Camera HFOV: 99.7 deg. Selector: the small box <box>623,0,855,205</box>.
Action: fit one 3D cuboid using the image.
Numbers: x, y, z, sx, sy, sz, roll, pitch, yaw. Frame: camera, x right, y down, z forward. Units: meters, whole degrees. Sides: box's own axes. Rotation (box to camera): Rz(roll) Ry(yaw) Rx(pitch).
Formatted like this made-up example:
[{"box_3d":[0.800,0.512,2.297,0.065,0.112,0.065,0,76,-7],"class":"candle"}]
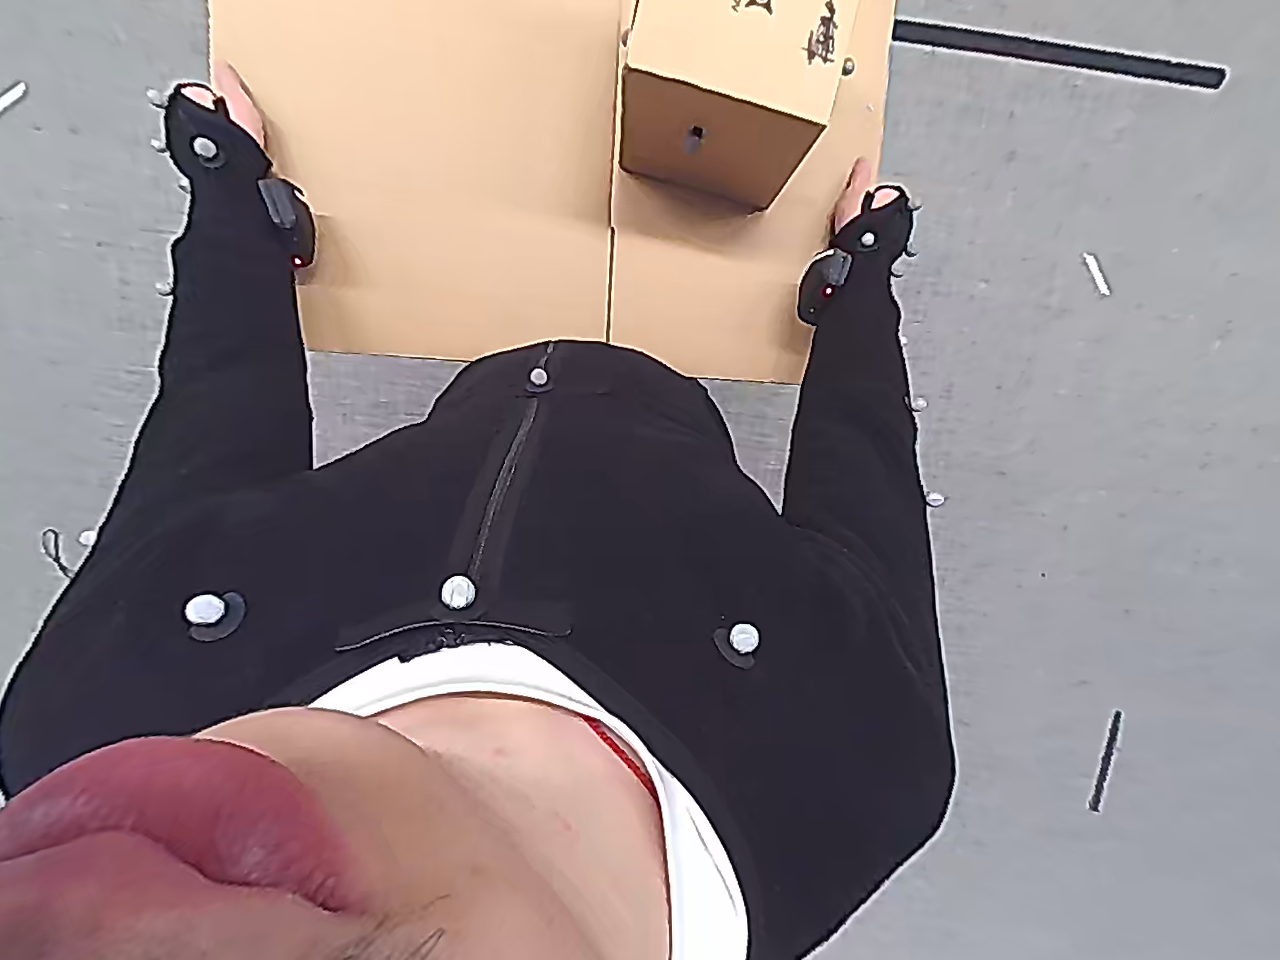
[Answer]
[{"box_3d":[0.085,-0.396,0.524,0.179,0.176,0.168,13,94,-4],"class":"small box"}]
